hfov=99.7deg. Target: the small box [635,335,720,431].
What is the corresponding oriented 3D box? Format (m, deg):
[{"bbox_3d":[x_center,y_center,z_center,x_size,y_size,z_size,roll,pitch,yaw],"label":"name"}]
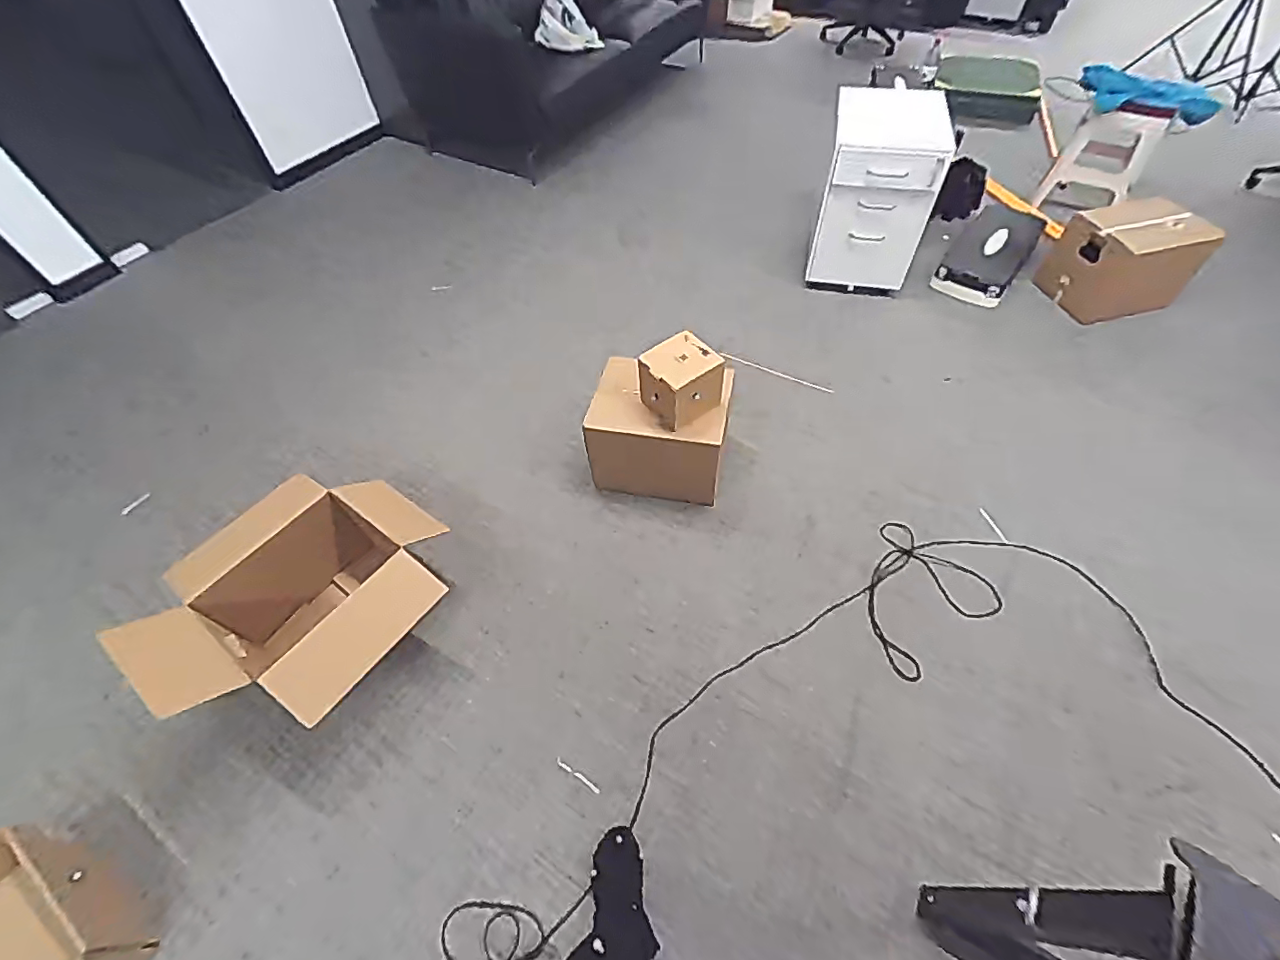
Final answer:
[{"bbox_3d":[0.107,-0.269,1.526,0.179,0.176,0.168,-33,59,-18],"label":"small box"}]
